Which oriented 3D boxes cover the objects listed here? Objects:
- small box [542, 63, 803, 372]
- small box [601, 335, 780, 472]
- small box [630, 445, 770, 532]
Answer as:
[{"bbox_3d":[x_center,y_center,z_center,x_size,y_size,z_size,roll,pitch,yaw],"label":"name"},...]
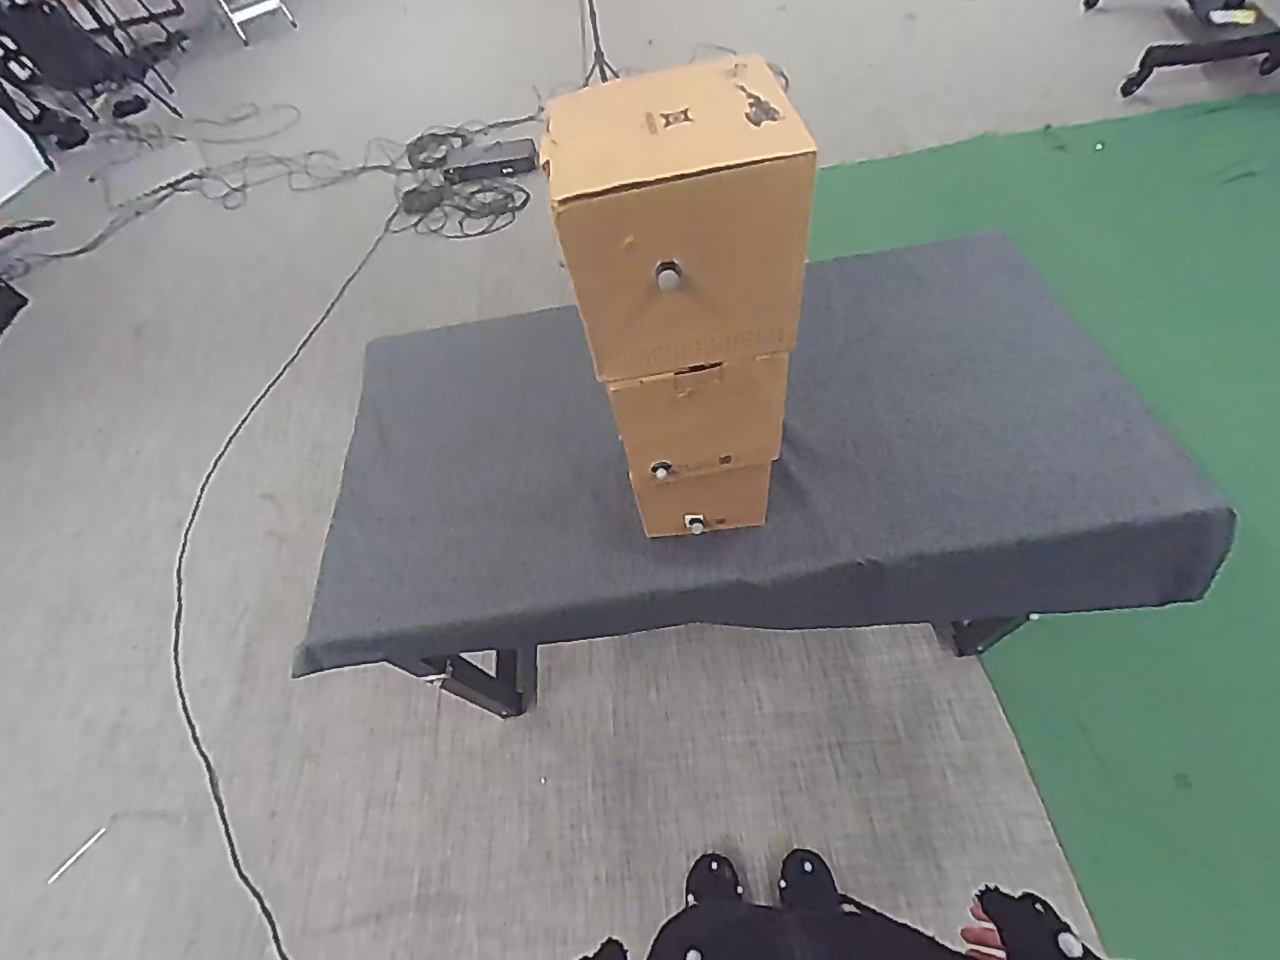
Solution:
[{"bbox_3d":[0.026,-0.216,0.467,0.179,0.176,0.168,-12,54,2],"label":"small box"},{"bbox_3d":[0.047,-0.126,0.599,0.168,0.176,0.179,-15,57,2],"label":"small box"},{"bbox_3d":[0.075,-0.050,0.742,0.168,0.176,0.179,-9,58,5],"label":"small box"}]
